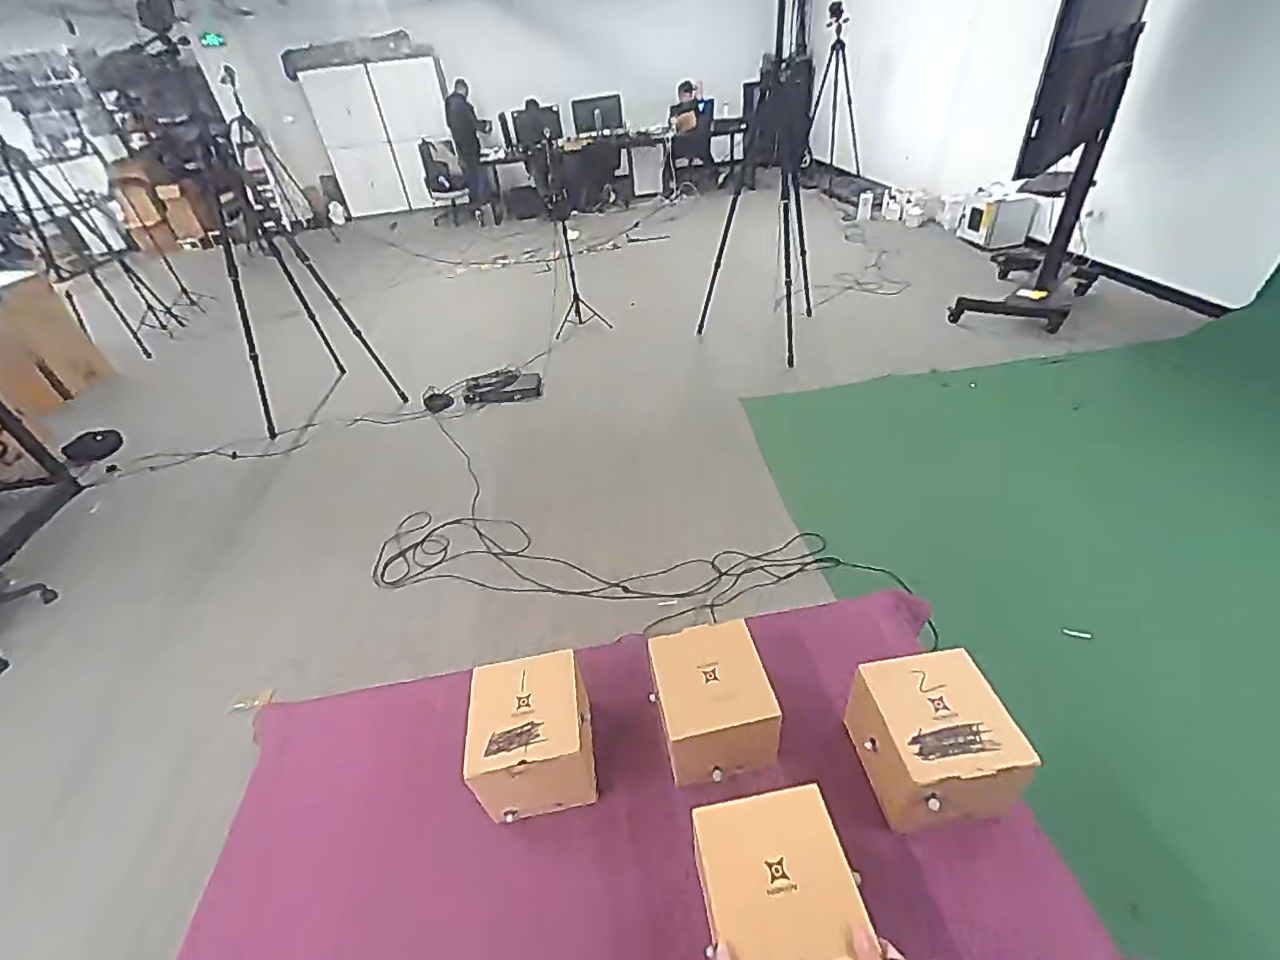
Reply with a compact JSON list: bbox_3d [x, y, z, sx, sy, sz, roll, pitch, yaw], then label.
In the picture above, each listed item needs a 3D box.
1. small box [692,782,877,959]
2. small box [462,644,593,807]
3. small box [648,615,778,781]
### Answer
[{"bbox_3d":[0.161,0.512,0.668,0.168,0.176,0.179,-9,38,-4],"label":"small box"},{"bbox_3d":[-0.171,0.395,0.862,0.168,0.176,0.179,-9,38,-4],"label":"small box"},{"bbox_3d":[0.111,0.353,0.877,0.168,0.176,0.179,-11,40,-4],"label":"small box"}]
